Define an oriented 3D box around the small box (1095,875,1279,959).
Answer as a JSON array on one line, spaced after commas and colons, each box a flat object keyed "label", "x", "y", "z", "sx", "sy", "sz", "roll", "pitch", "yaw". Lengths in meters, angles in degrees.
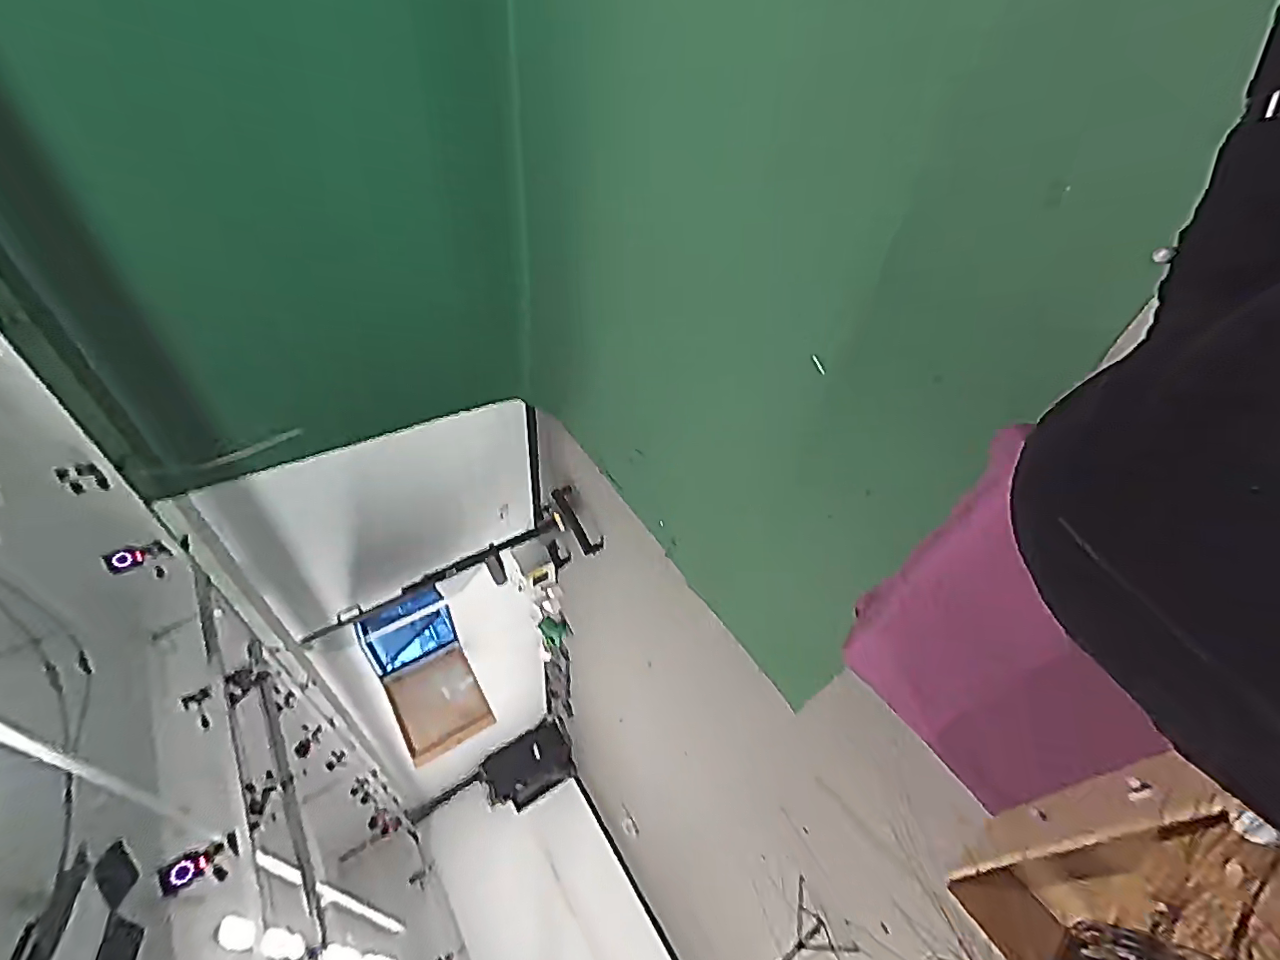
[{"label": "small box", "x": 0.567, "y": 0.509, "z": 0.490, "sx": 0.179, "sy": 0.176, "sz": 0.168, "roll": 49, "pitch": 149, "yaw": 31}]
